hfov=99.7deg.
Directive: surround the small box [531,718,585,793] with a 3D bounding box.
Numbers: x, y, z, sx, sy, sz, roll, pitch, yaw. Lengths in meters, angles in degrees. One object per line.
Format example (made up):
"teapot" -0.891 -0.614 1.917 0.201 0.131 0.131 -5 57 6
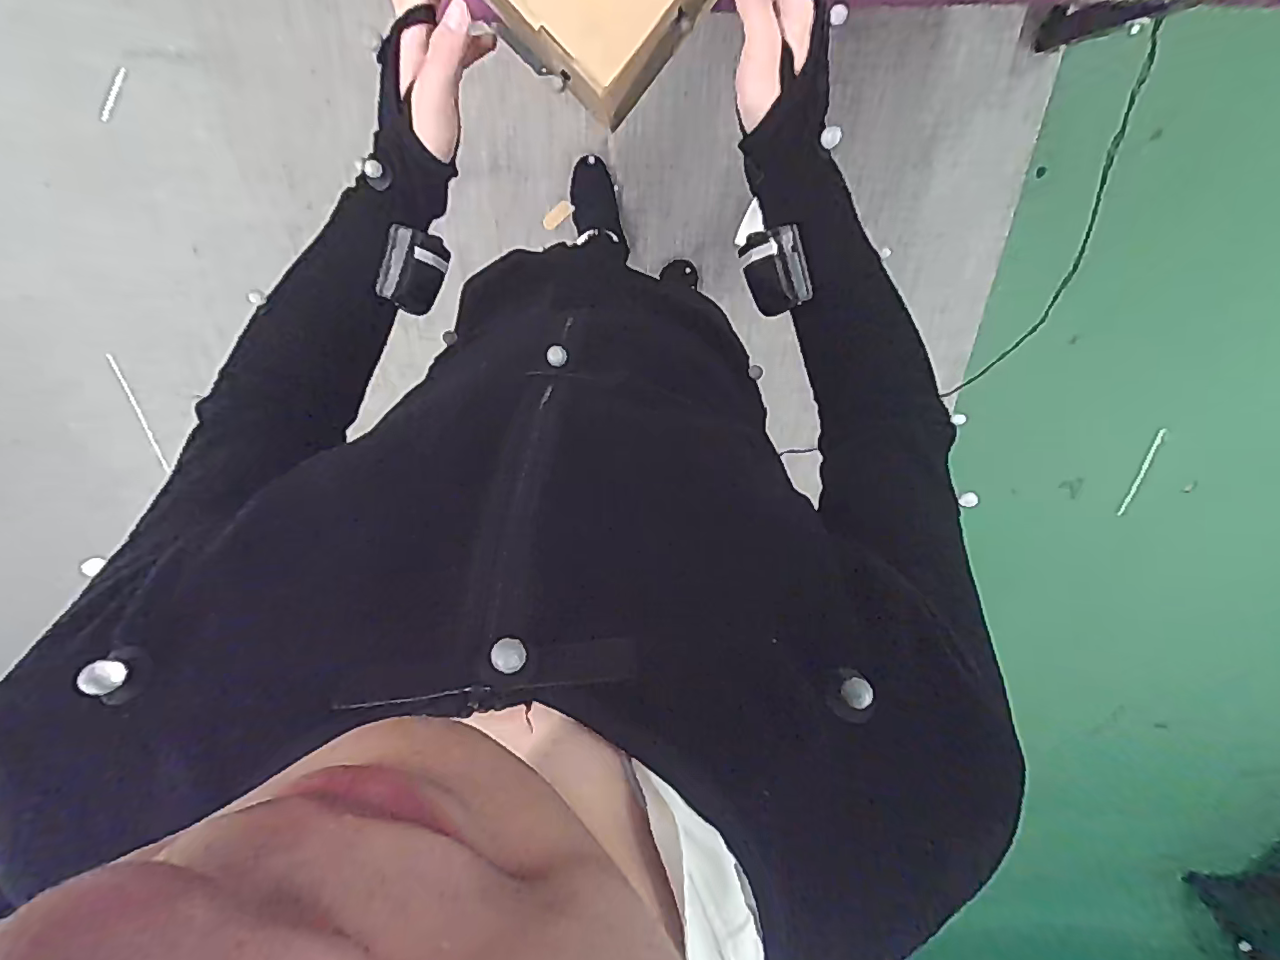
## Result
"small box" -0.282 0.940 1.848 0.168 0.176 0.179 6 118 -3
